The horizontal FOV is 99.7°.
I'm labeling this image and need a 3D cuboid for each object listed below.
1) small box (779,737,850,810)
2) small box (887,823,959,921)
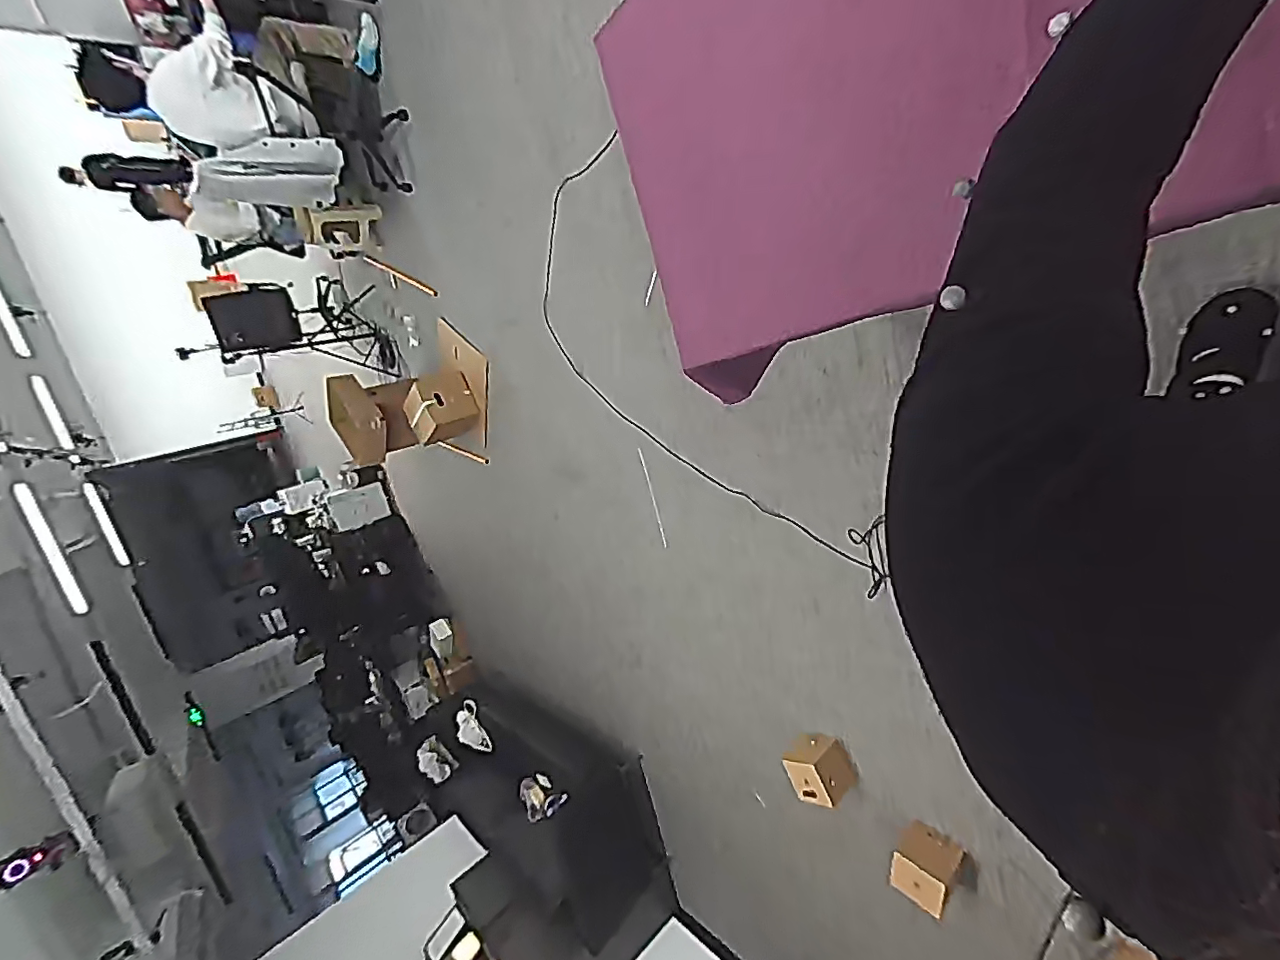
[{"bbox_3d":[0.683,1.137,2.107,0.168,0.176,0.179,-29,85,52],"label":"small box"},{"bbox_3d":[0.973,1.339,1.856,0.168,0.176,0.179,18,122,45],"label":"small box"}]
